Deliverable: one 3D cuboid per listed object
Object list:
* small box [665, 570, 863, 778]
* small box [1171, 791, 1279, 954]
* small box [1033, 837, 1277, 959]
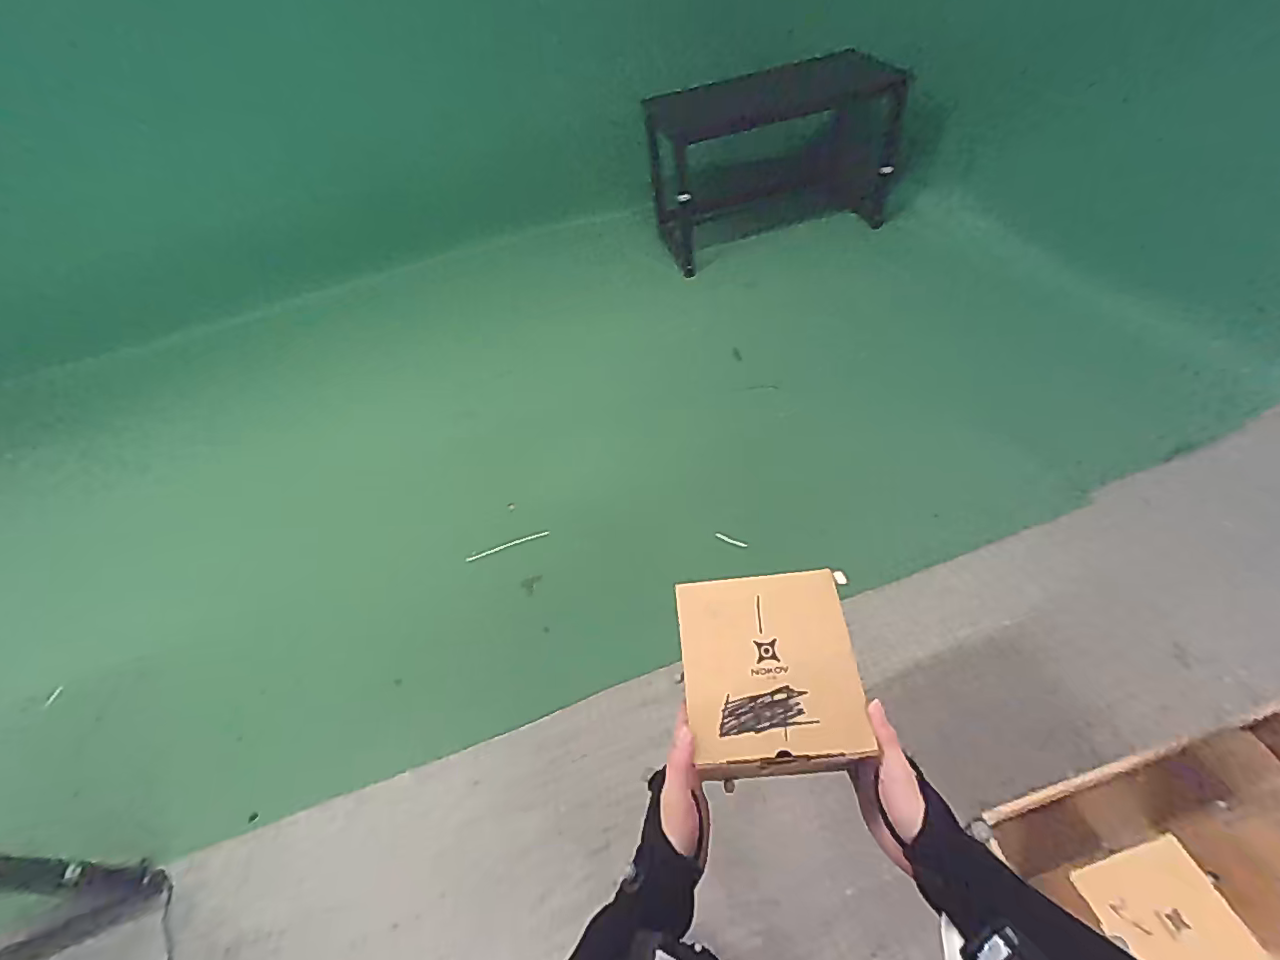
[{"bbox_3d":[0.123,0.219,0.588,0.168,0.176,0.179,-7,56,4],"label":"small box"},{"bbox_3d":[0.978,0.581,0.811,0.179,0.176,0.168,-19,50,-3],"label":"small box"},{"bbox_3d":[0.734,0.650,0.790,0.179,0.176,0.168,-16,49,-4],"label":"small box"}]
